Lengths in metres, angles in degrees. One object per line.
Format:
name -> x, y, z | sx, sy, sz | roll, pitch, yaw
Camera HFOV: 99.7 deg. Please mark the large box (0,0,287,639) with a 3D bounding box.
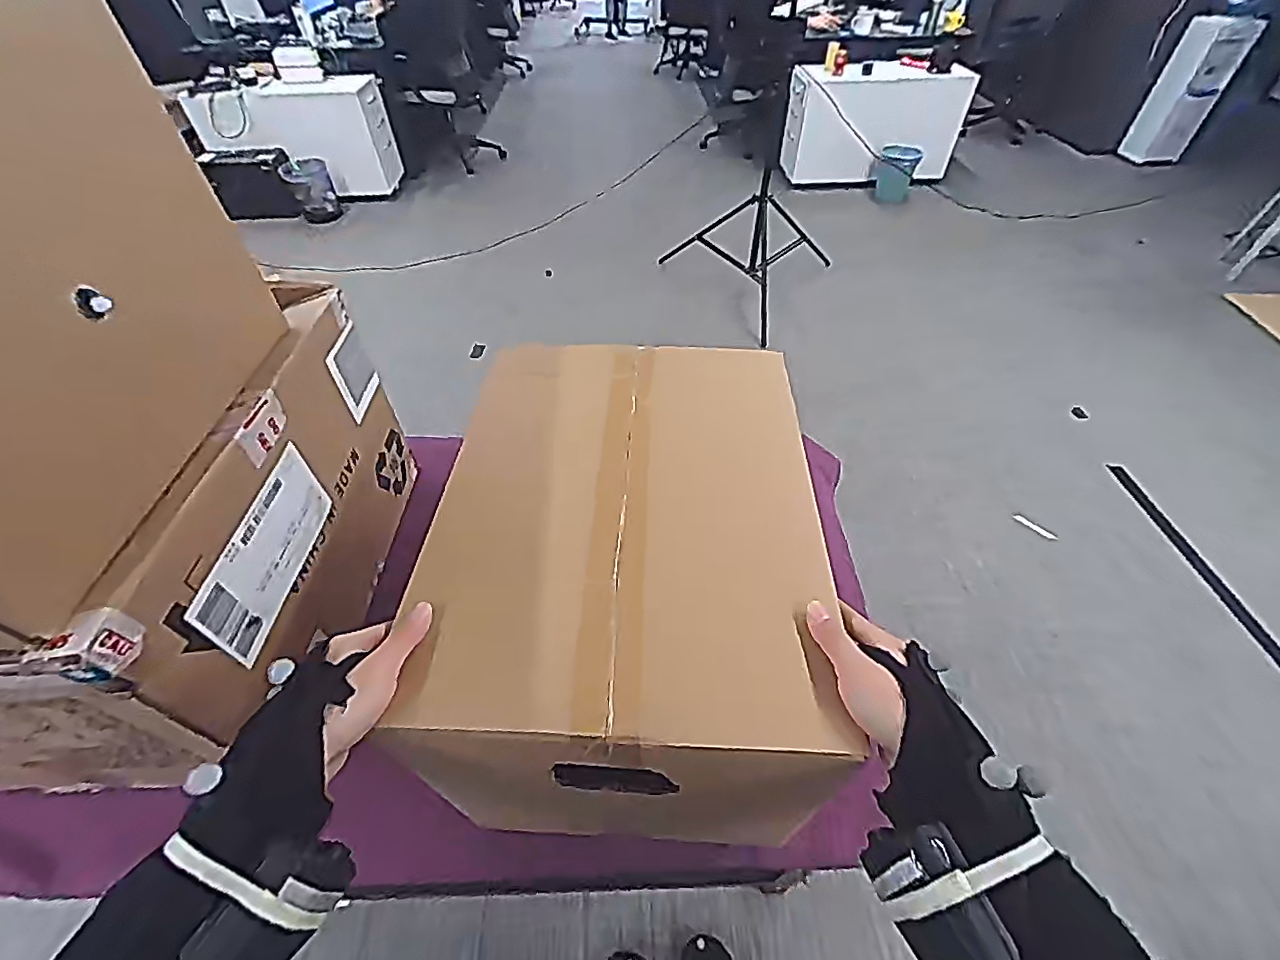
large box -> -0.554, -0.130, 0.399 | 0.320, 0.320, 0.408 | -3, 48, 0
